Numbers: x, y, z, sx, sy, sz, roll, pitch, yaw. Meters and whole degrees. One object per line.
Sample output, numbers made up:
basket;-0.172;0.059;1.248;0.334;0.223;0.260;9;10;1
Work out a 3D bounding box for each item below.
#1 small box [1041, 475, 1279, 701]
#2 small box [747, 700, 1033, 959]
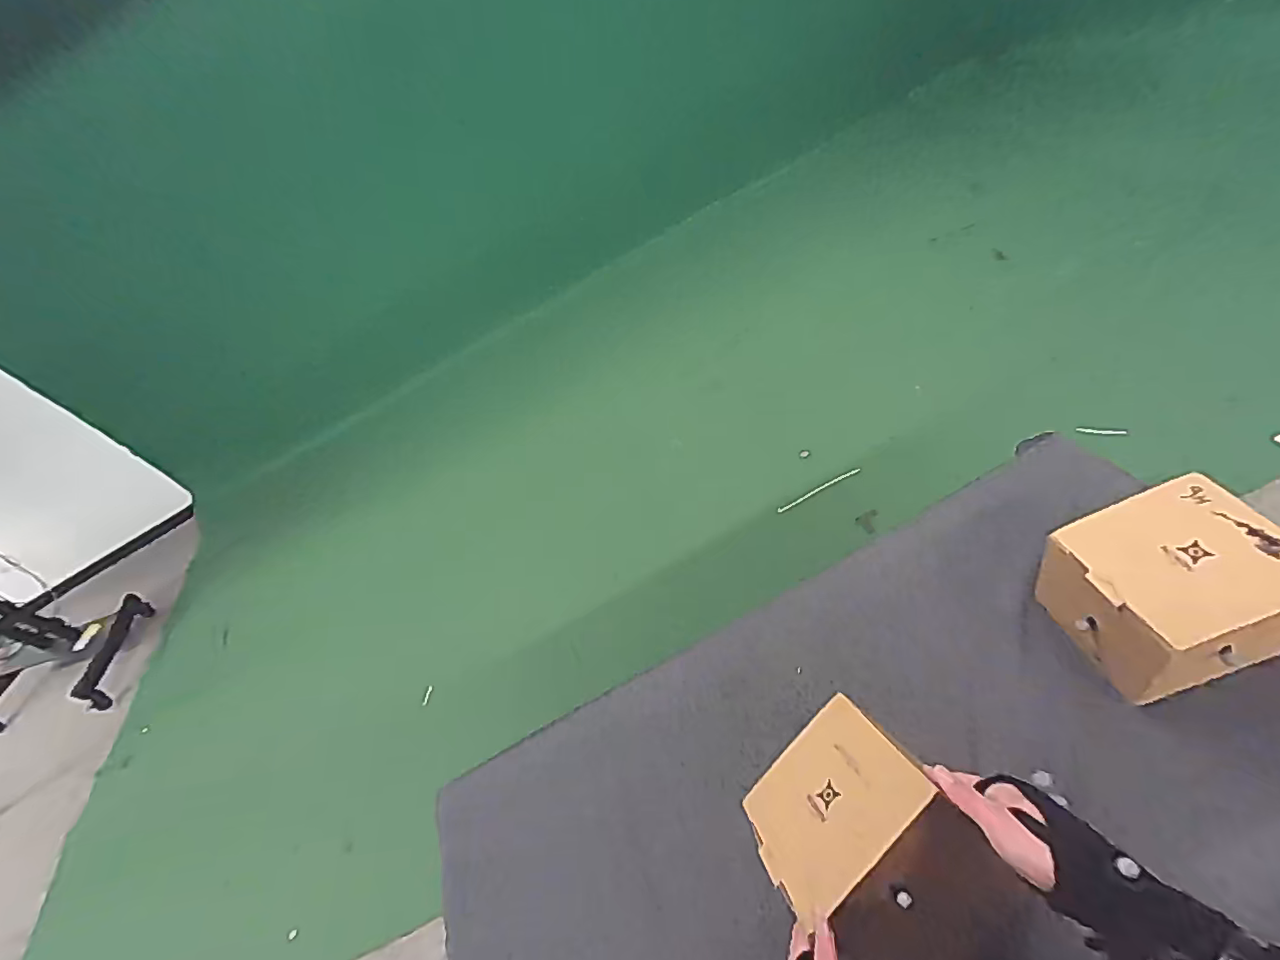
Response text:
small box;0.613;0.133;0.638;0.179;0.176;0.168;-26;44;8
small box;0.250;0.380;0.562;0.179;0.176;0.168;-47;12;-2
